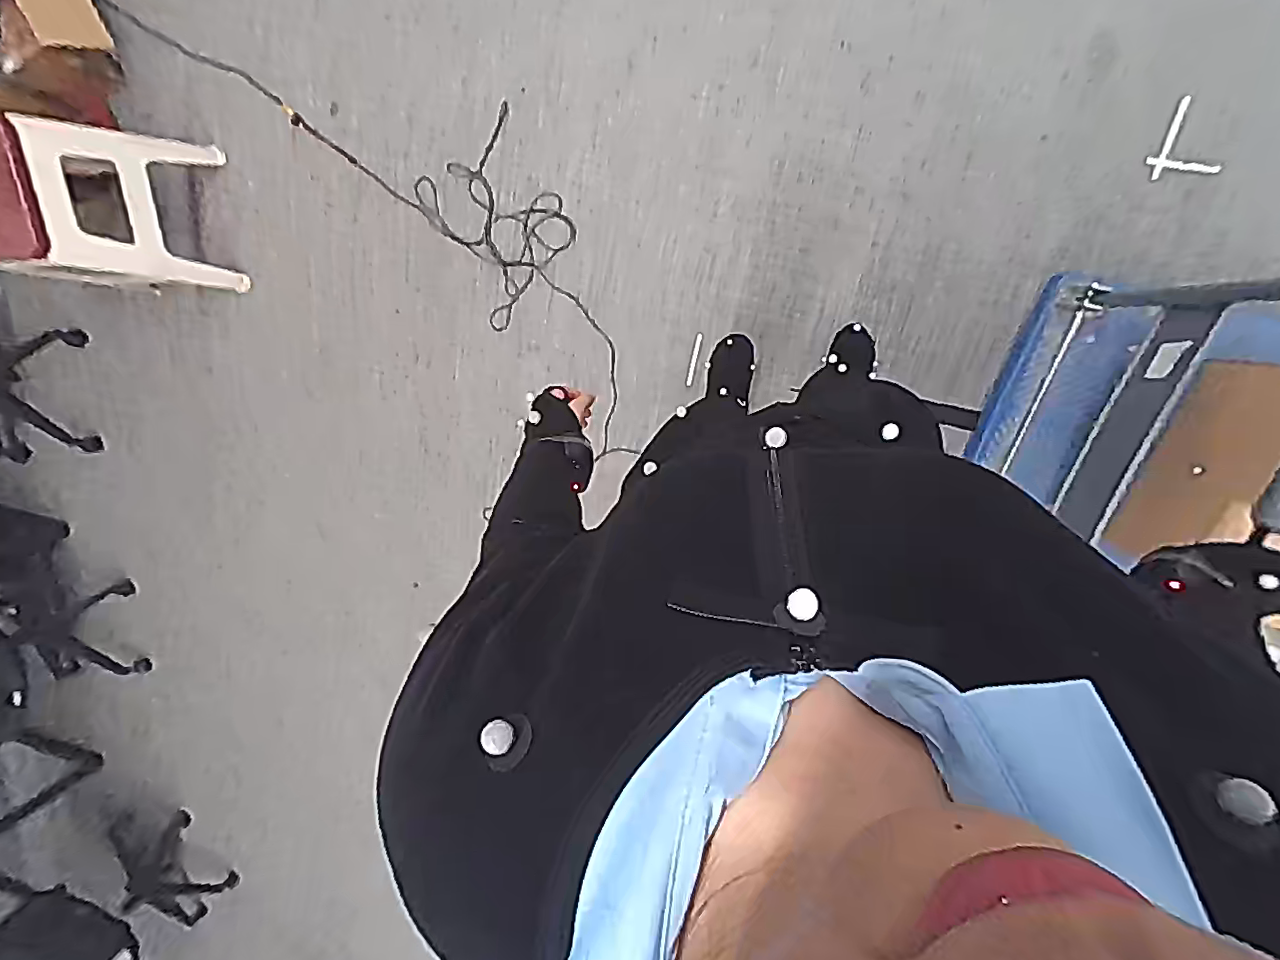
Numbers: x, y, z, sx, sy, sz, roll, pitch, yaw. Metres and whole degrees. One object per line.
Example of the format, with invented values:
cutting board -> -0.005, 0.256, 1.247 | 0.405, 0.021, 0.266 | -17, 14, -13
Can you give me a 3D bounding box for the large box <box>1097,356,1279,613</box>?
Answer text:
large box -> 1.172, 0.011, 0.992 | 0.320, 0.320, 0.408 | 17, 108, 6
